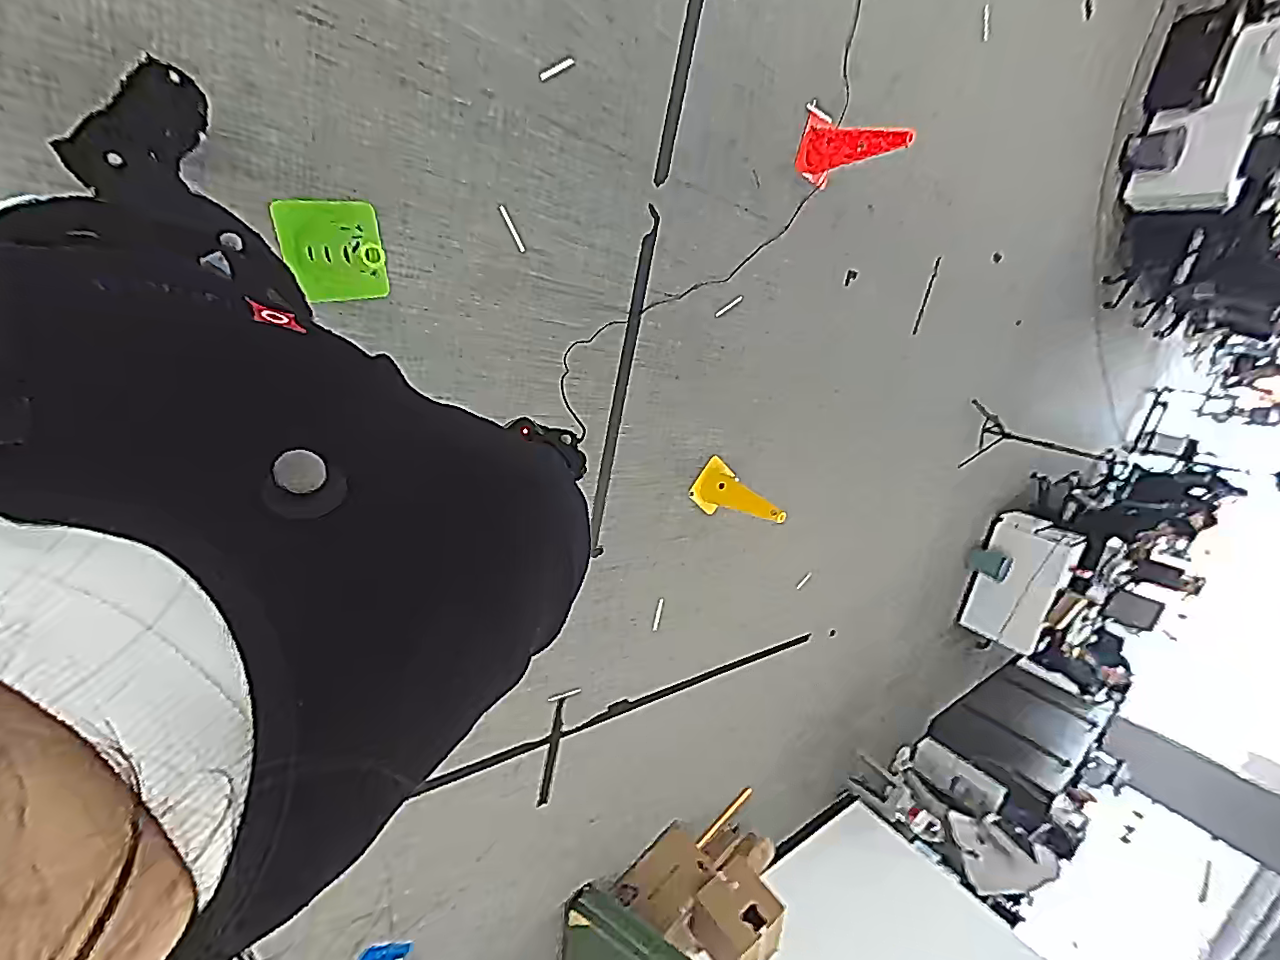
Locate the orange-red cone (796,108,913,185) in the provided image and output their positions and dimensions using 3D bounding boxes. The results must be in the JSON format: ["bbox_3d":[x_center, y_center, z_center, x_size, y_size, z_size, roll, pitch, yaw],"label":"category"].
[{"bbox_3d":[0.749,-1.153,1.843,0.198,0.360,0.199,8,105,-41],"label":"orange-red cone"}]

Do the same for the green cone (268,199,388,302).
[{"bbox_3d":[-0.559,-0.445,1.045,0.200,0.368,0.202,-20,119,-34],"label":"green cone"}]
